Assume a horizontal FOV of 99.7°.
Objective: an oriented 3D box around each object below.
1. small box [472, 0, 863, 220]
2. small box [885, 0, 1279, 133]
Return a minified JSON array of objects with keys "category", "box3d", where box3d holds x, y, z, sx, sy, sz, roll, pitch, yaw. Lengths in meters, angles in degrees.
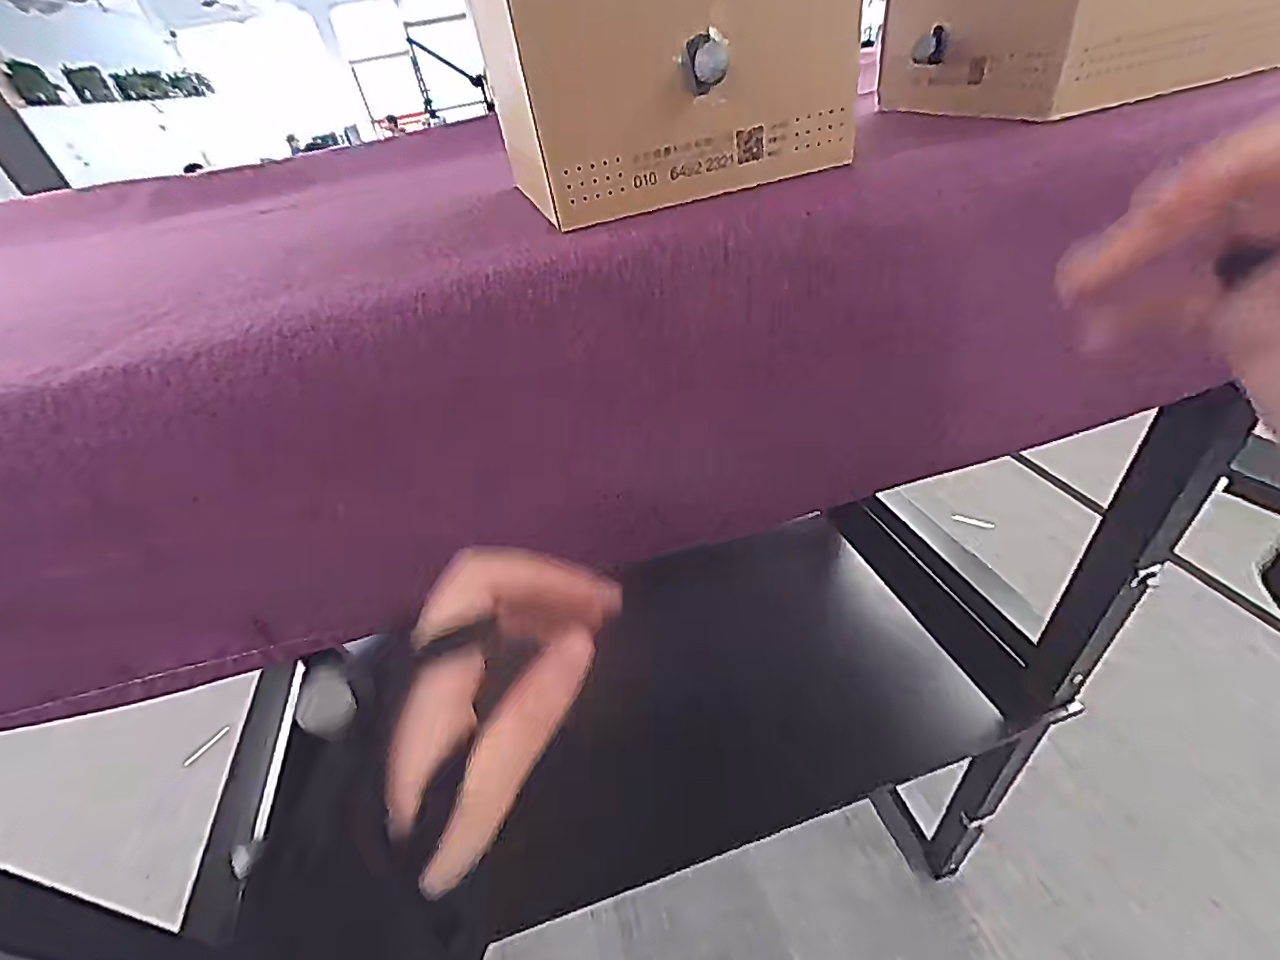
[{"category":"small box","box3d":[0.000,-0.253,0.292,0.168,0.176,0.179,-18,38,-9]},{"category":"small box","box3d":[0.272,-0.323,0.318,0.179,0.176,0.168,-16,37,-5]}]
